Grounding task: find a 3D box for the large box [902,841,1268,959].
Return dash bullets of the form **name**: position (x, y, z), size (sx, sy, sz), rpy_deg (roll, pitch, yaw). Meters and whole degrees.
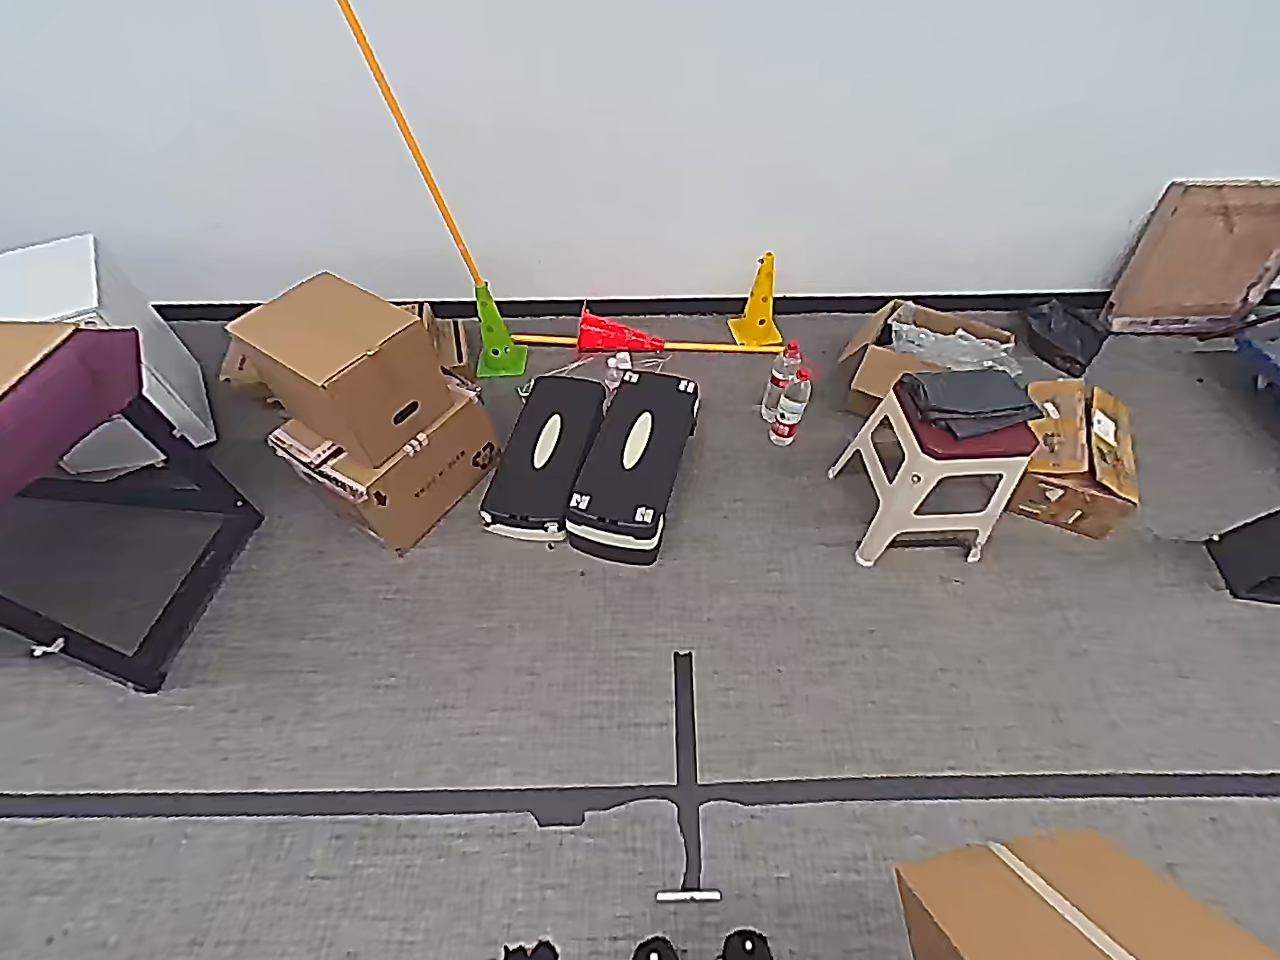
- **large box**: position (0.569, 0.705, 0.617), size (0.320, 0.408, 0.320), rpy_deg (-10, 85, -1)
